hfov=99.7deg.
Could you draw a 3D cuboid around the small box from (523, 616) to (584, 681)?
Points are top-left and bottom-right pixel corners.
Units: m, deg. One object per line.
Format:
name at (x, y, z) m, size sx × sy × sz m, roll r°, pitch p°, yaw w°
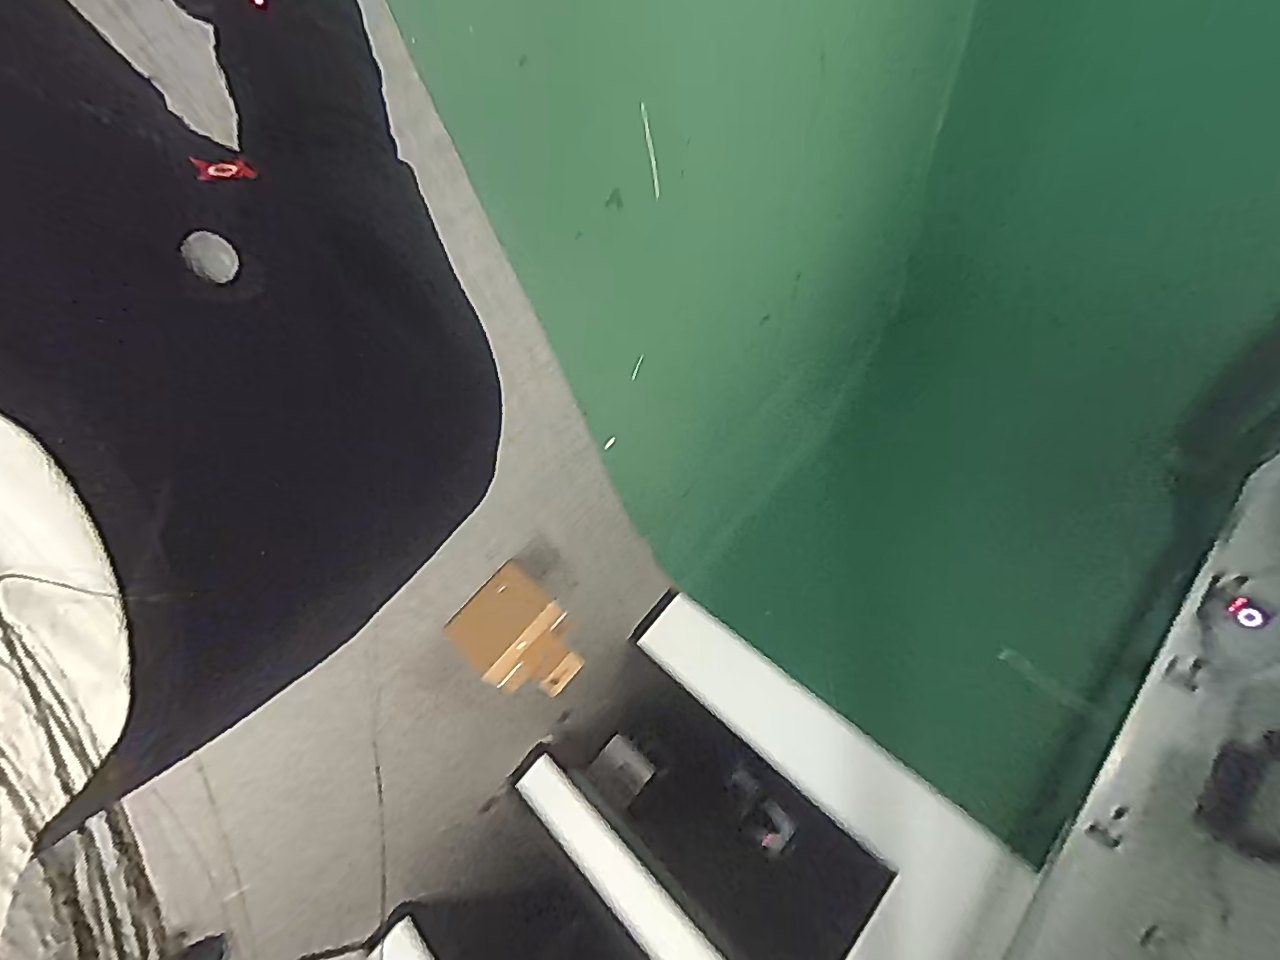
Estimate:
small box at (-0.377, 0.723, 2.322) m, size 0.179 × 0.176 × 0.168 m, roll -47°, pitch 144°, yaw -14°
